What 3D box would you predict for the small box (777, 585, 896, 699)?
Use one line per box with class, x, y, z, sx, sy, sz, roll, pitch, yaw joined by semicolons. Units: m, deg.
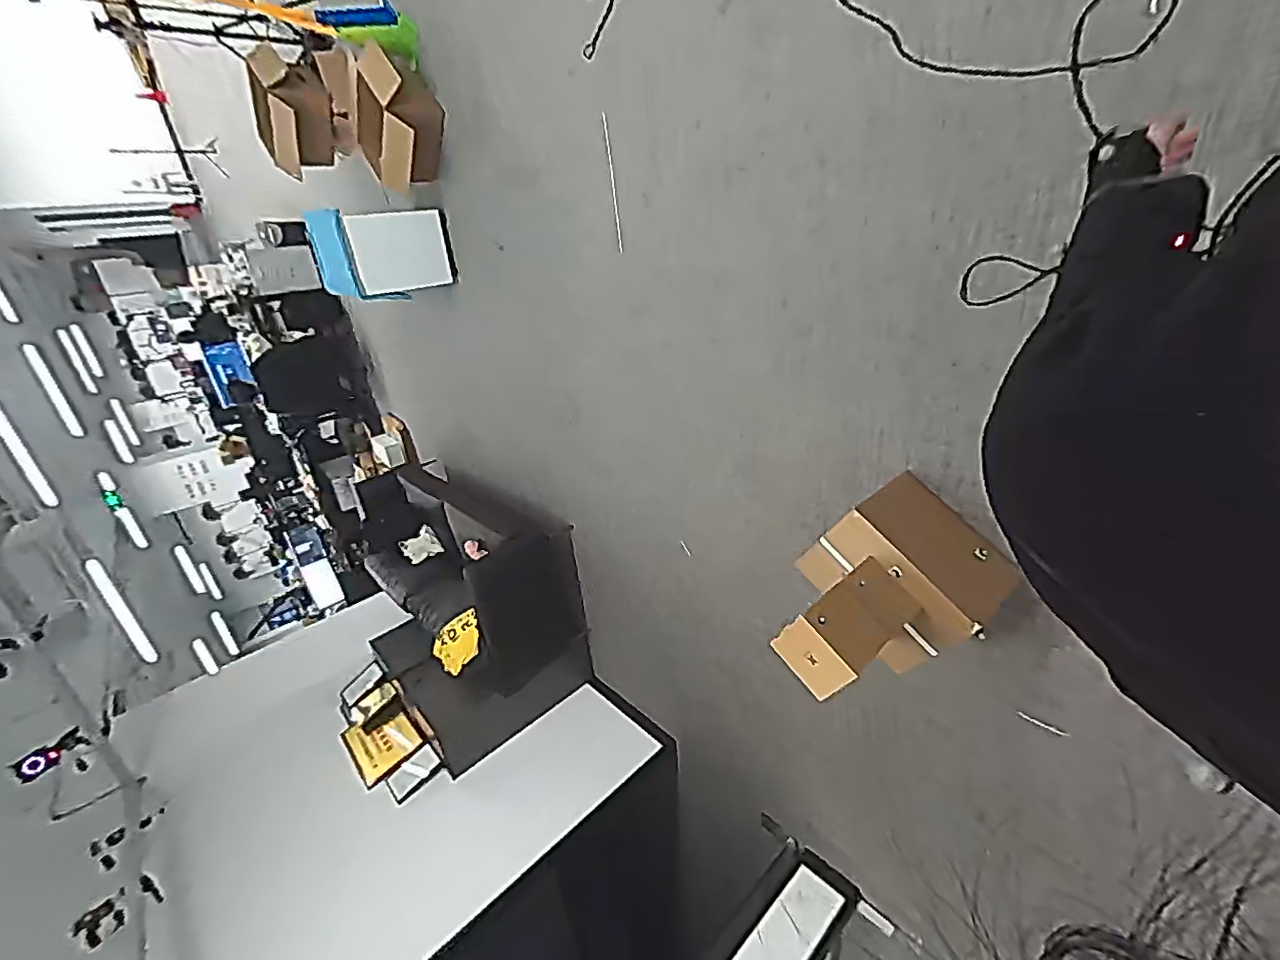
small box;0.476;0.387;1.307;0.179;0.176;0.168;49;142;23
